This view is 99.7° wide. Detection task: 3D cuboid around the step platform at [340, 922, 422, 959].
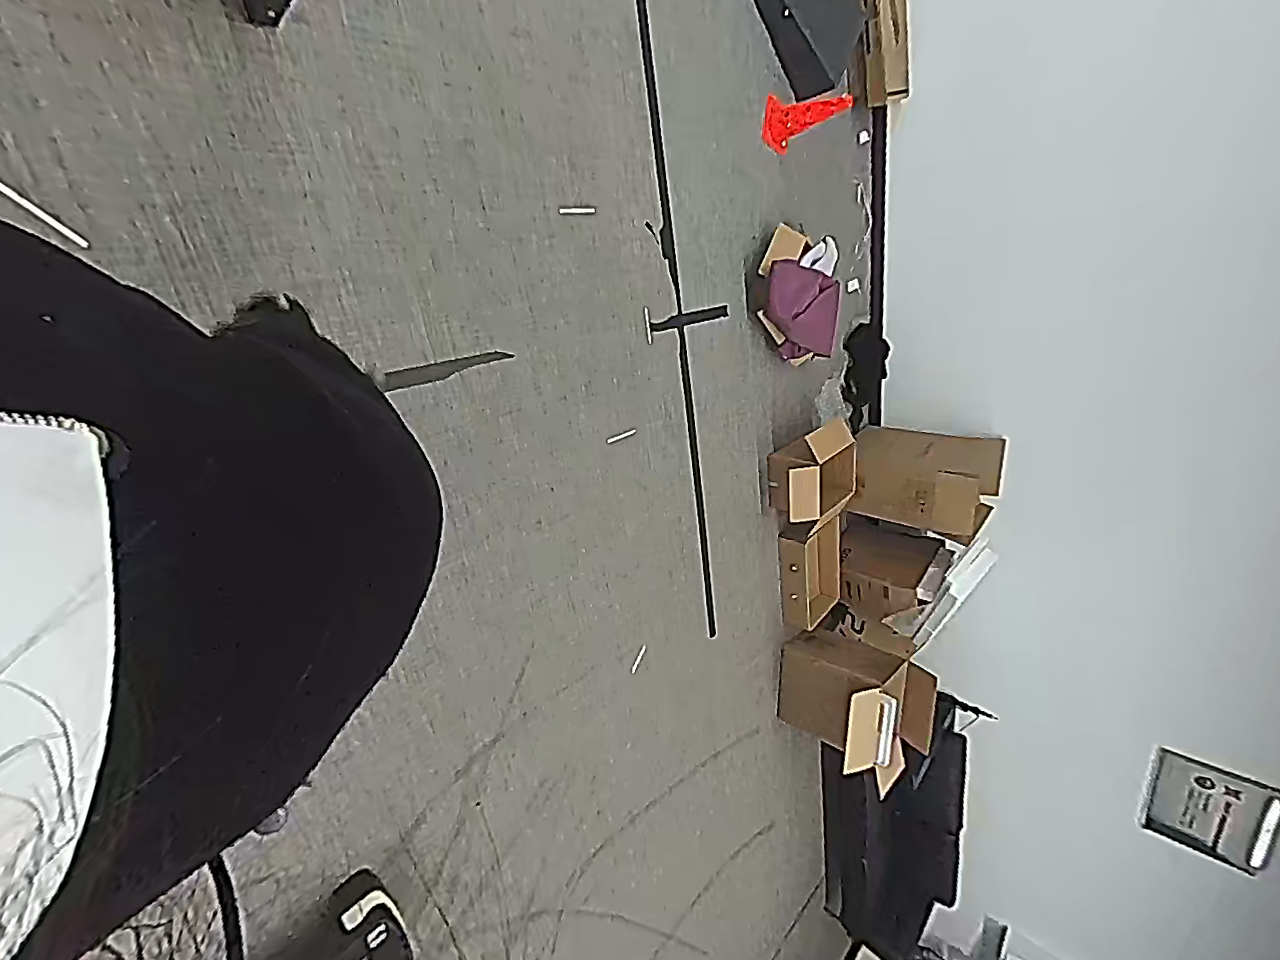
[{"bbox_3d":[-0.819,1.434,1.249,0.684,0.204,0.286,-28,119,-38],"label":"step platform"}]
